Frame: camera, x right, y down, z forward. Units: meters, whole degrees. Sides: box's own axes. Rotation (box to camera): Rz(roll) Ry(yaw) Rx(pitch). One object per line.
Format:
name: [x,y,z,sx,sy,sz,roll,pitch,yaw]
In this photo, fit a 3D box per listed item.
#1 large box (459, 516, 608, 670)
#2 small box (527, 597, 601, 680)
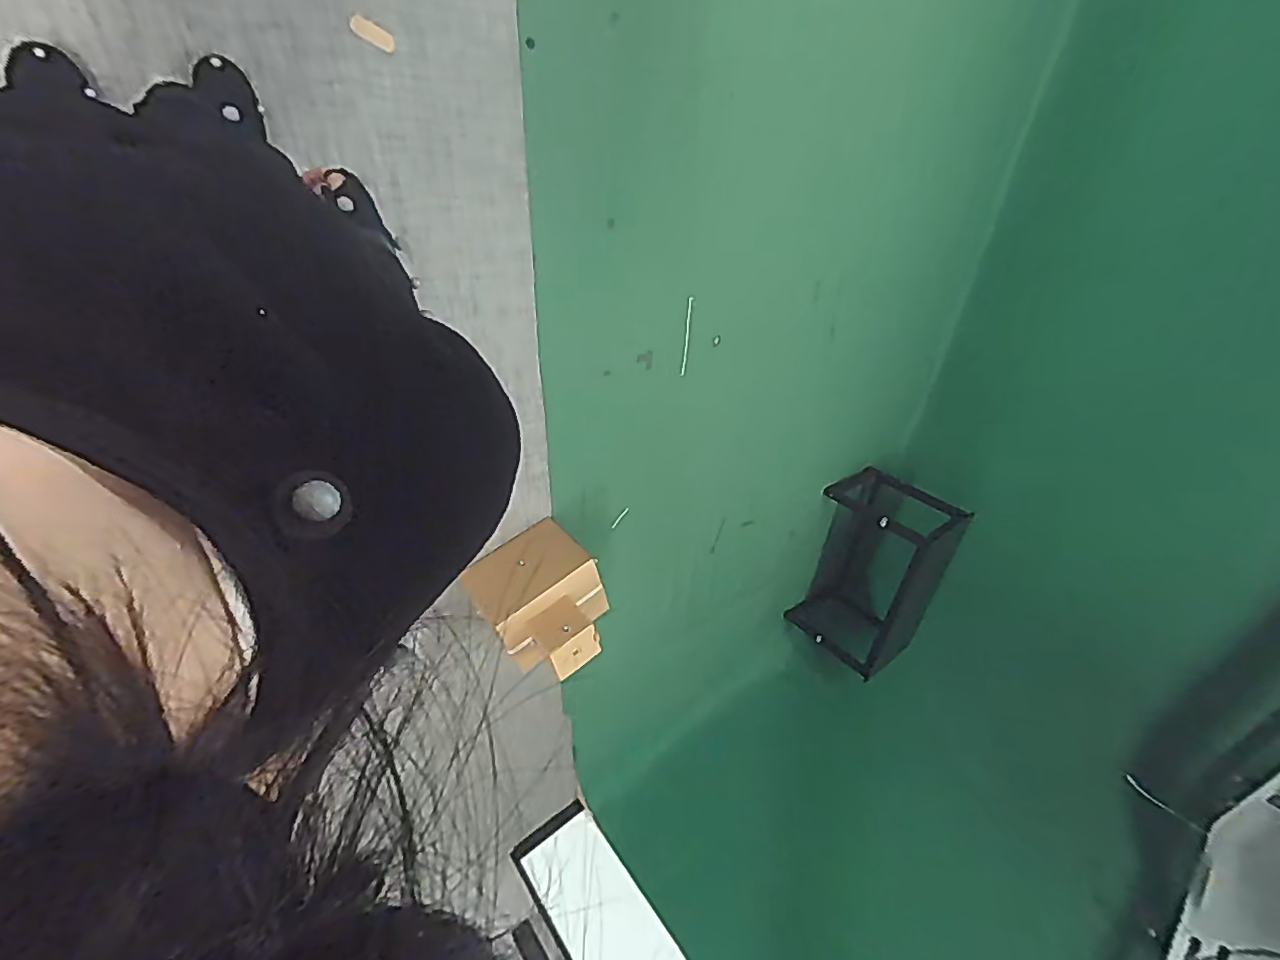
large box: [-0.392,0.412,2.026,0.408,0.320,0.320,-34,137,-23]
small box: [-0.260,0.537,1.858,0.179,0.176,0.168,-31,133,-25]
